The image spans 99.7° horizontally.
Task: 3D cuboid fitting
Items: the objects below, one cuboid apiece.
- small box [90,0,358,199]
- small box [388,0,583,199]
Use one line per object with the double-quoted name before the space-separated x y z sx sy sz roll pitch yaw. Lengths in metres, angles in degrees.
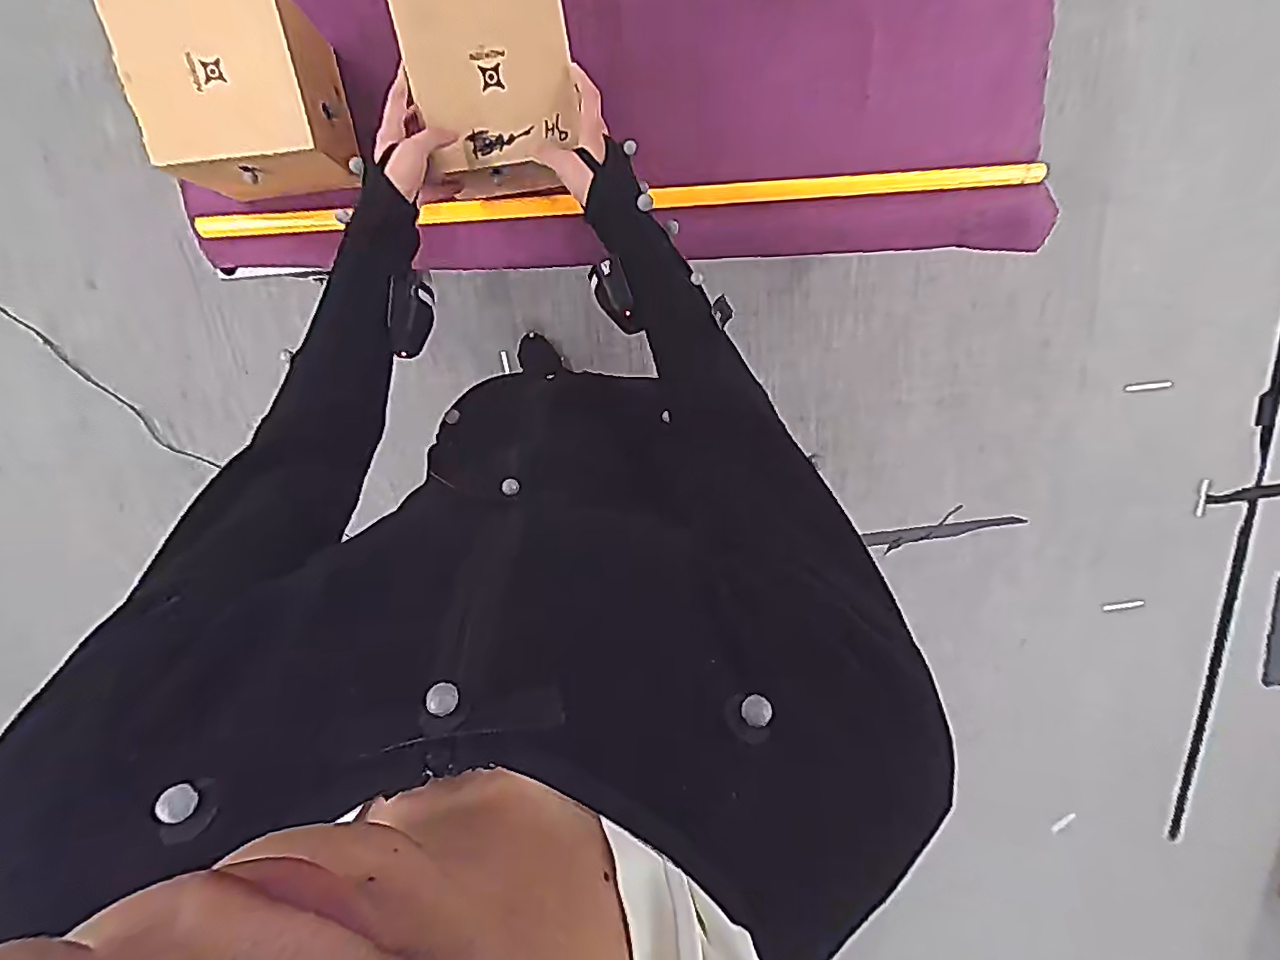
"small box" -0.459 -0.446 0.638 0.179 0.176 0.168 -9 107 -3
"small box" -0.163 -0.438 0.610 0.168 0.176 0.179 -11 109 -5
